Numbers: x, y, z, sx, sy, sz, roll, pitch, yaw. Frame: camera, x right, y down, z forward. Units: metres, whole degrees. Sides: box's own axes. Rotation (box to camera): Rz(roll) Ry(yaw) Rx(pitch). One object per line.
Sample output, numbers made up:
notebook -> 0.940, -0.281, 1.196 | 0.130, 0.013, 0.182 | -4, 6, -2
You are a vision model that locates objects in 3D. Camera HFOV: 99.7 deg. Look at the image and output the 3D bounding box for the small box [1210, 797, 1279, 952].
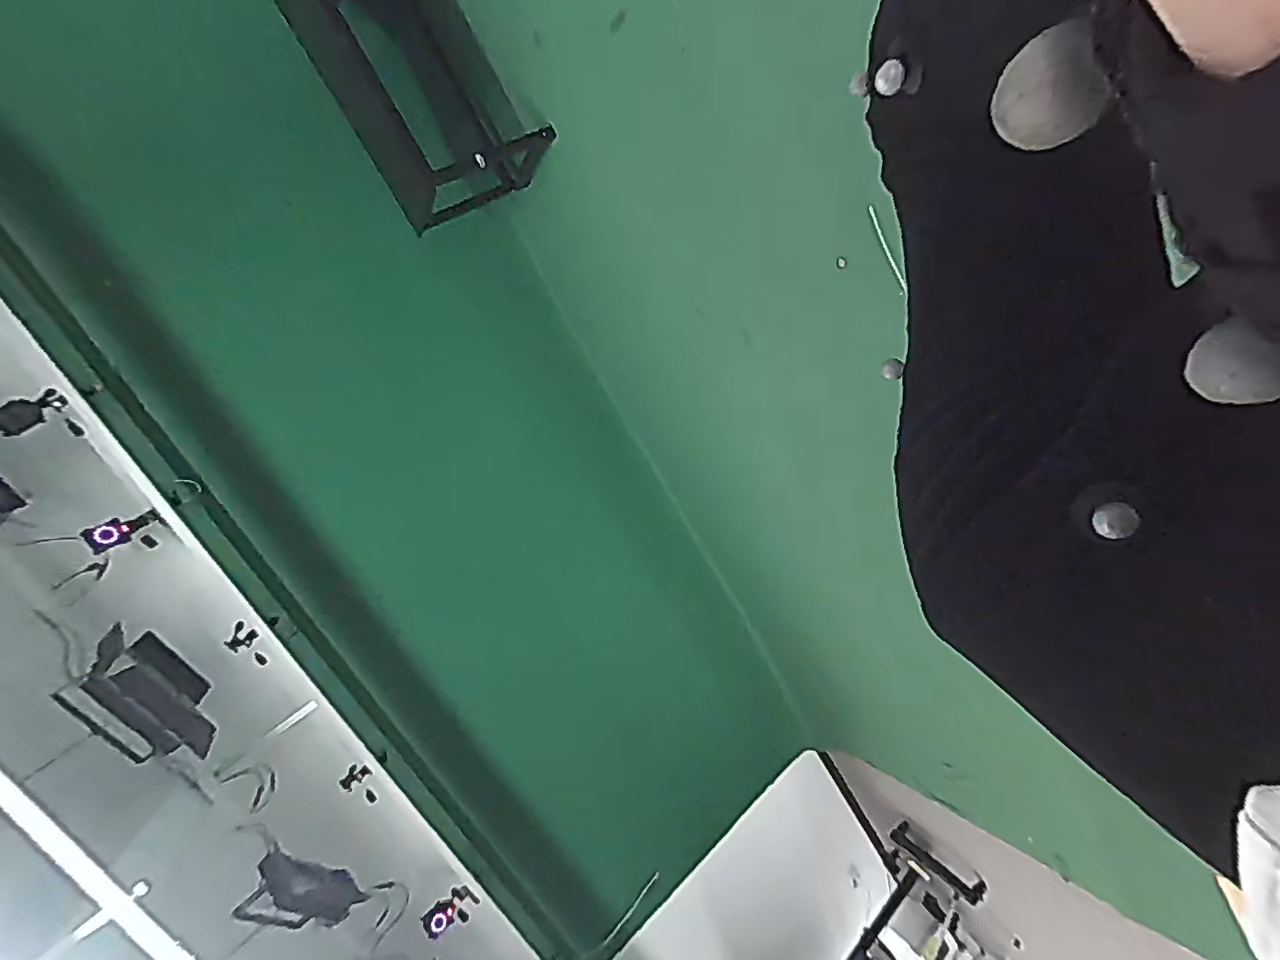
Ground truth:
small box -> 1.110, 0.681, 0.896 | 0.179, 0.176, 0.168 | 58, 157, -11
